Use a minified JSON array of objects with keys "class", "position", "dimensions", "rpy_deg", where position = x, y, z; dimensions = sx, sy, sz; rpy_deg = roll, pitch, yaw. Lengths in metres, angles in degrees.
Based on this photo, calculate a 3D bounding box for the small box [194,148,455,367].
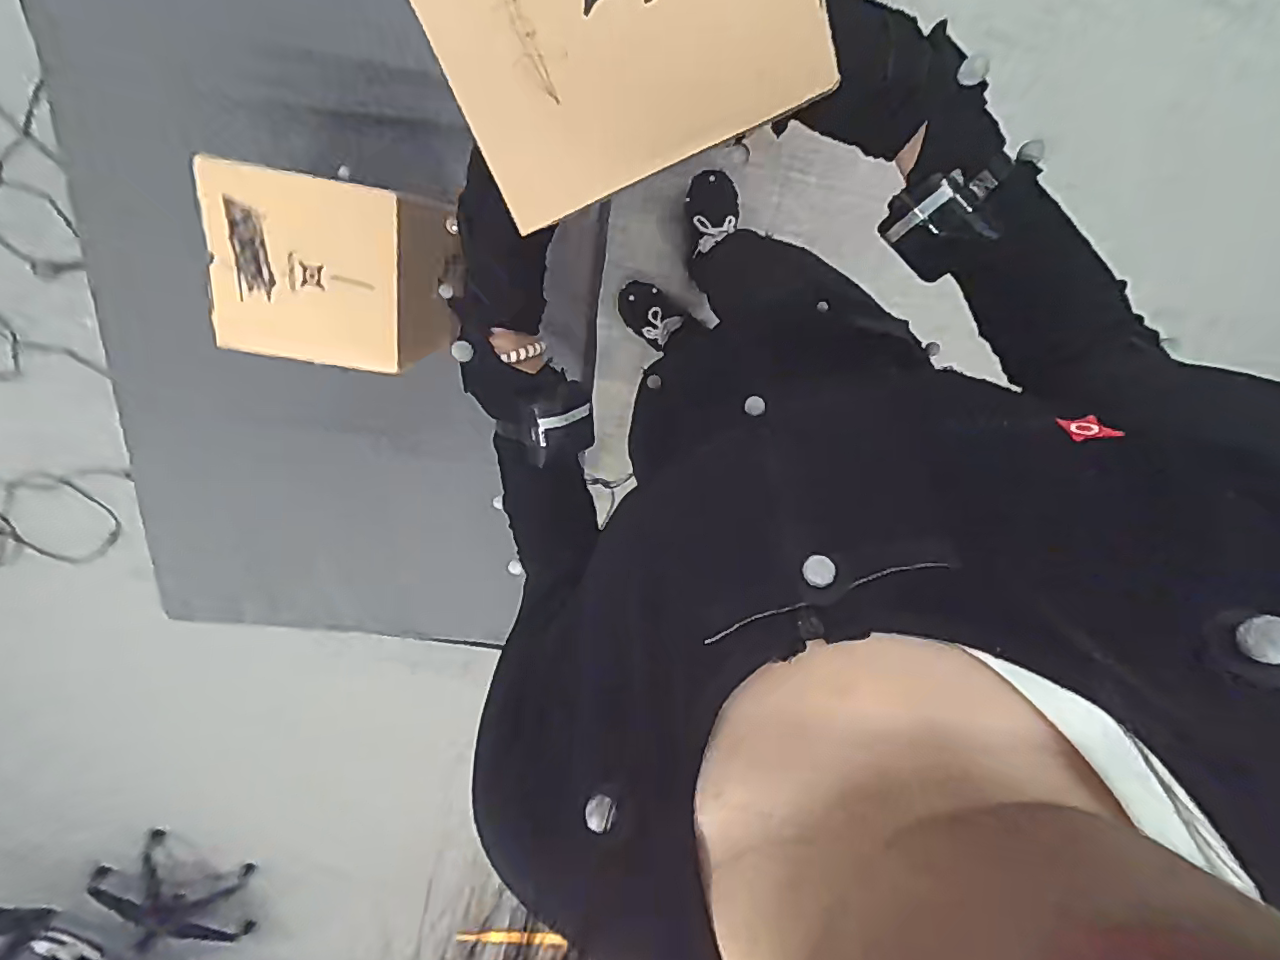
[{"class":"small box","position":[-0.314,-0.228,0.573],"dimensions":[0.179,0.176,0.168],"rpy_deg":[9,112,-4]}]

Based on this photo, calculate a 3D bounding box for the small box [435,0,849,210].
[{"class":"small box","position":[-0.008,-0.273,0.306],"dimensions":[0.179,0.176,0.168],"rpy_deg":[-18,116,11]}]
